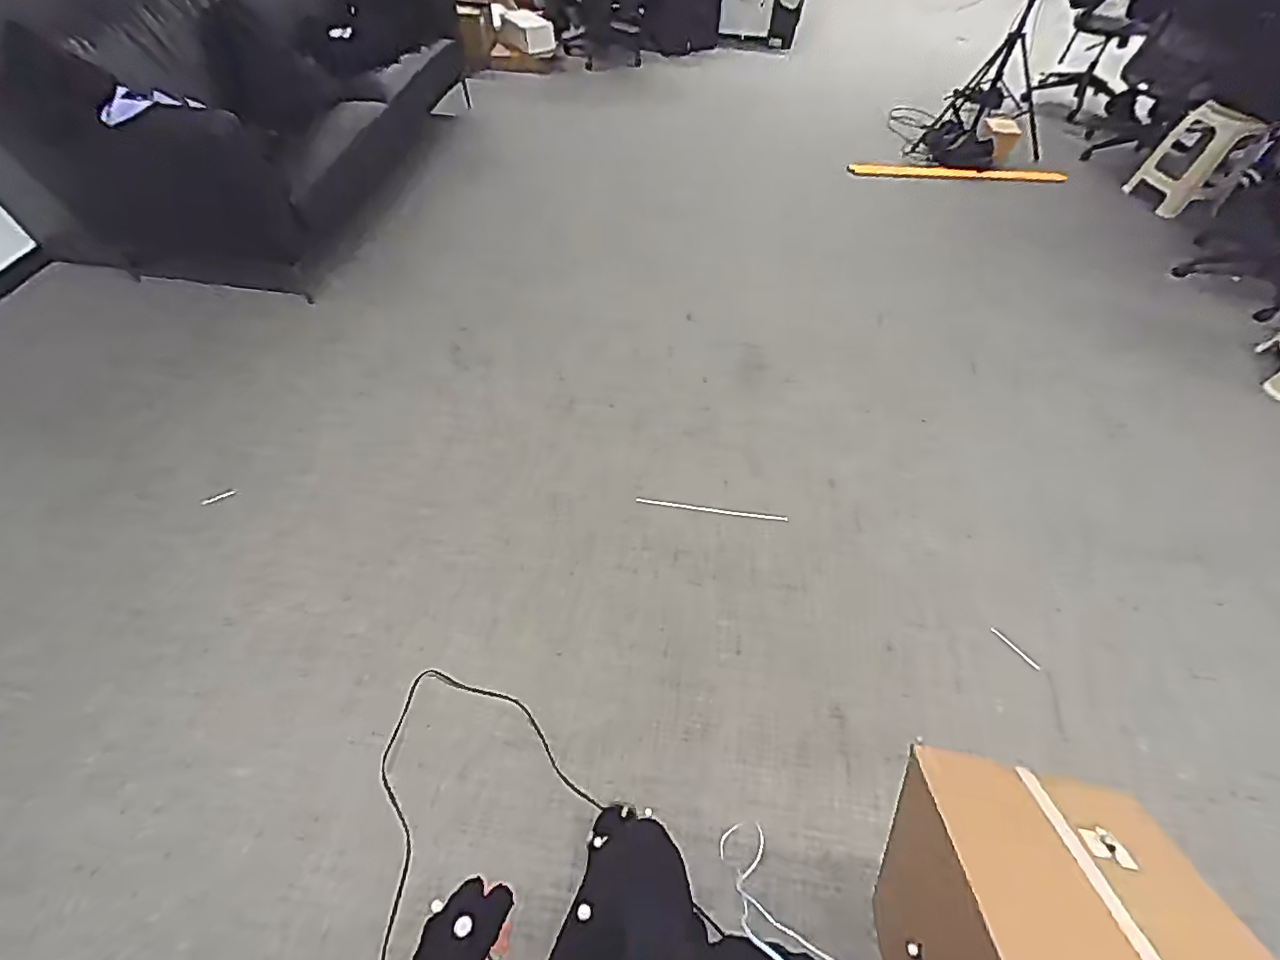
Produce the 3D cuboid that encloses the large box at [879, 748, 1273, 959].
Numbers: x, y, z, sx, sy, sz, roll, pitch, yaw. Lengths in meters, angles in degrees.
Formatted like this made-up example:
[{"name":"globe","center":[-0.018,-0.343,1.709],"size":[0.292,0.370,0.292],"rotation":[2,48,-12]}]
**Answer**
[{"name":"large box","center":[0.529,0.633,0.681],"size":[0.320,0.320,0.408],"rotation":[10,13,11]}]
